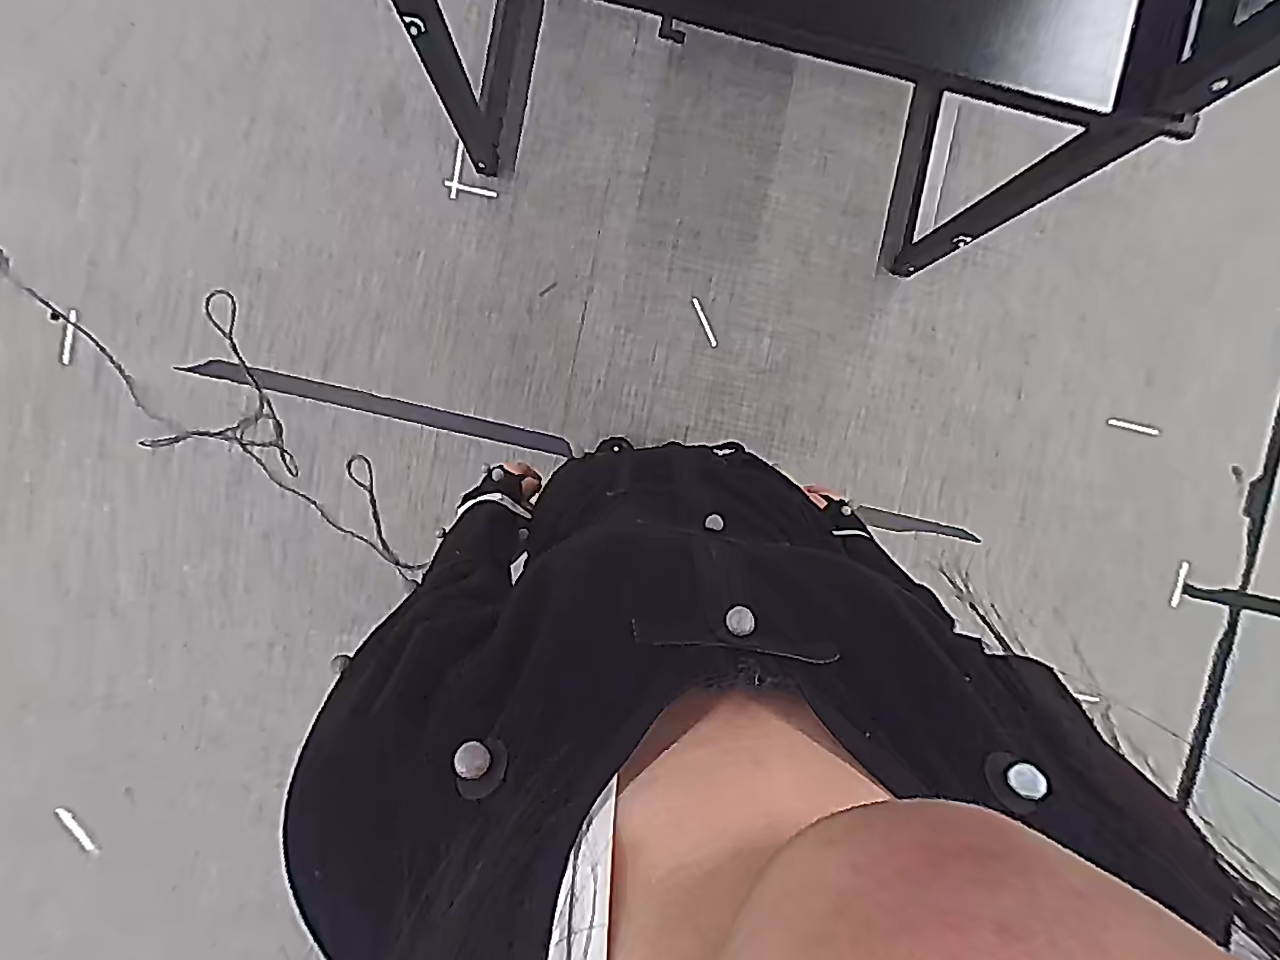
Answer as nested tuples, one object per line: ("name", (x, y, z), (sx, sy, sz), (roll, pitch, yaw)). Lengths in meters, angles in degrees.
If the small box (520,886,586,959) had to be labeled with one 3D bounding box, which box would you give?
("small box", (-0.234, 1.242, 1.462), (0.168, 0.176, 0.179), (3, 94, -4))
